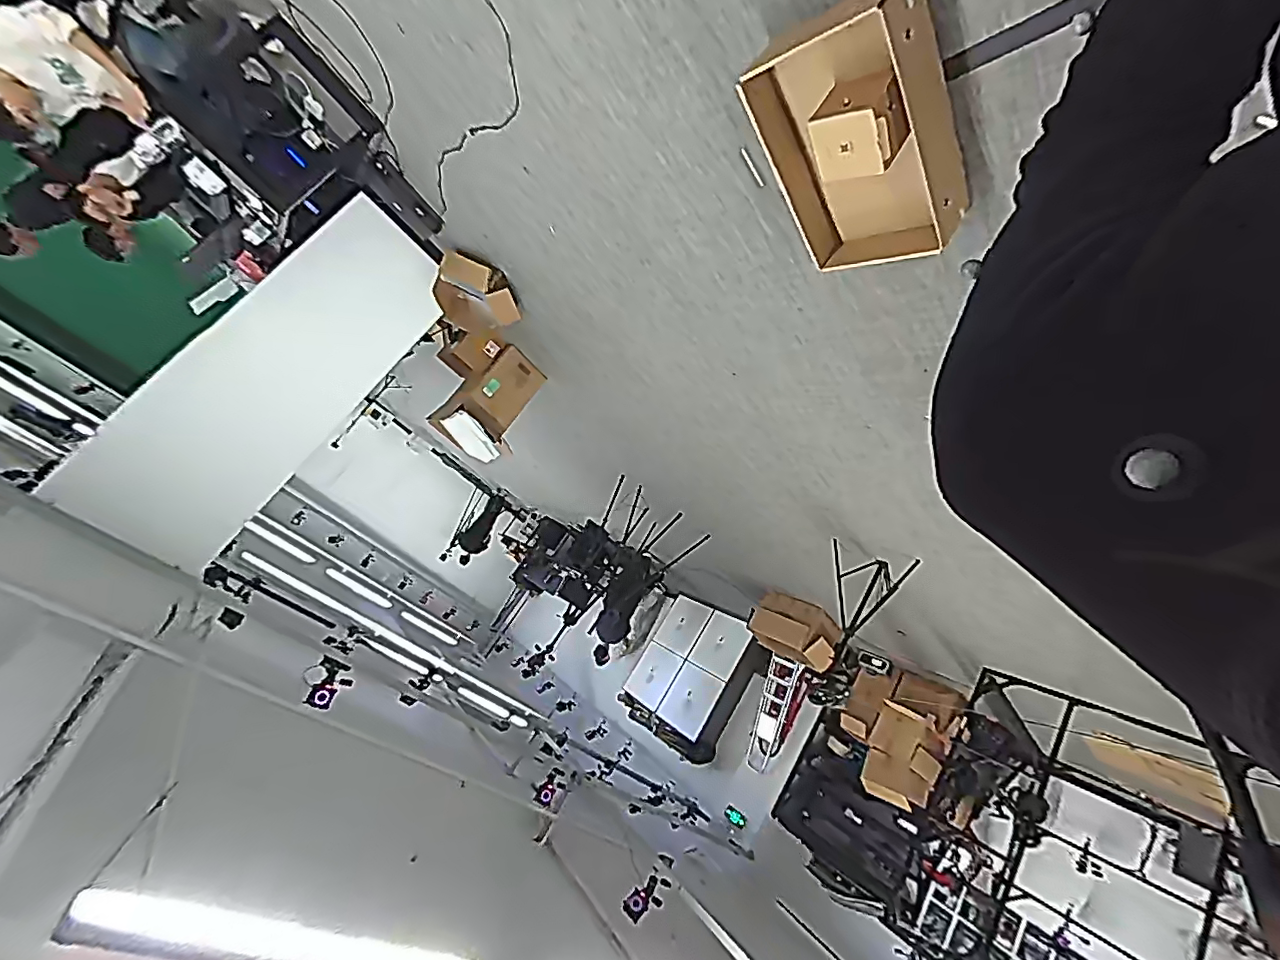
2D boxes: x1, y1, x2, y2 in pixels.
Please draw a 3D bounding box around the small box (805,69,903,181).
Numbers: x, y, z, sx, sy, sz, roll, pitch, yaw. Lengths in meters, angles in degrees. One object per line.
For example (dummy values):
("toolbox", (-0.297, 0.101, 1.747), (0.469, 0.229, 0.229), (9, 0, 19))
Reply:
("small box", (0.555, -0.904, 1.383), (0.179, 0.176, 0.168), (18, 157, 42))
